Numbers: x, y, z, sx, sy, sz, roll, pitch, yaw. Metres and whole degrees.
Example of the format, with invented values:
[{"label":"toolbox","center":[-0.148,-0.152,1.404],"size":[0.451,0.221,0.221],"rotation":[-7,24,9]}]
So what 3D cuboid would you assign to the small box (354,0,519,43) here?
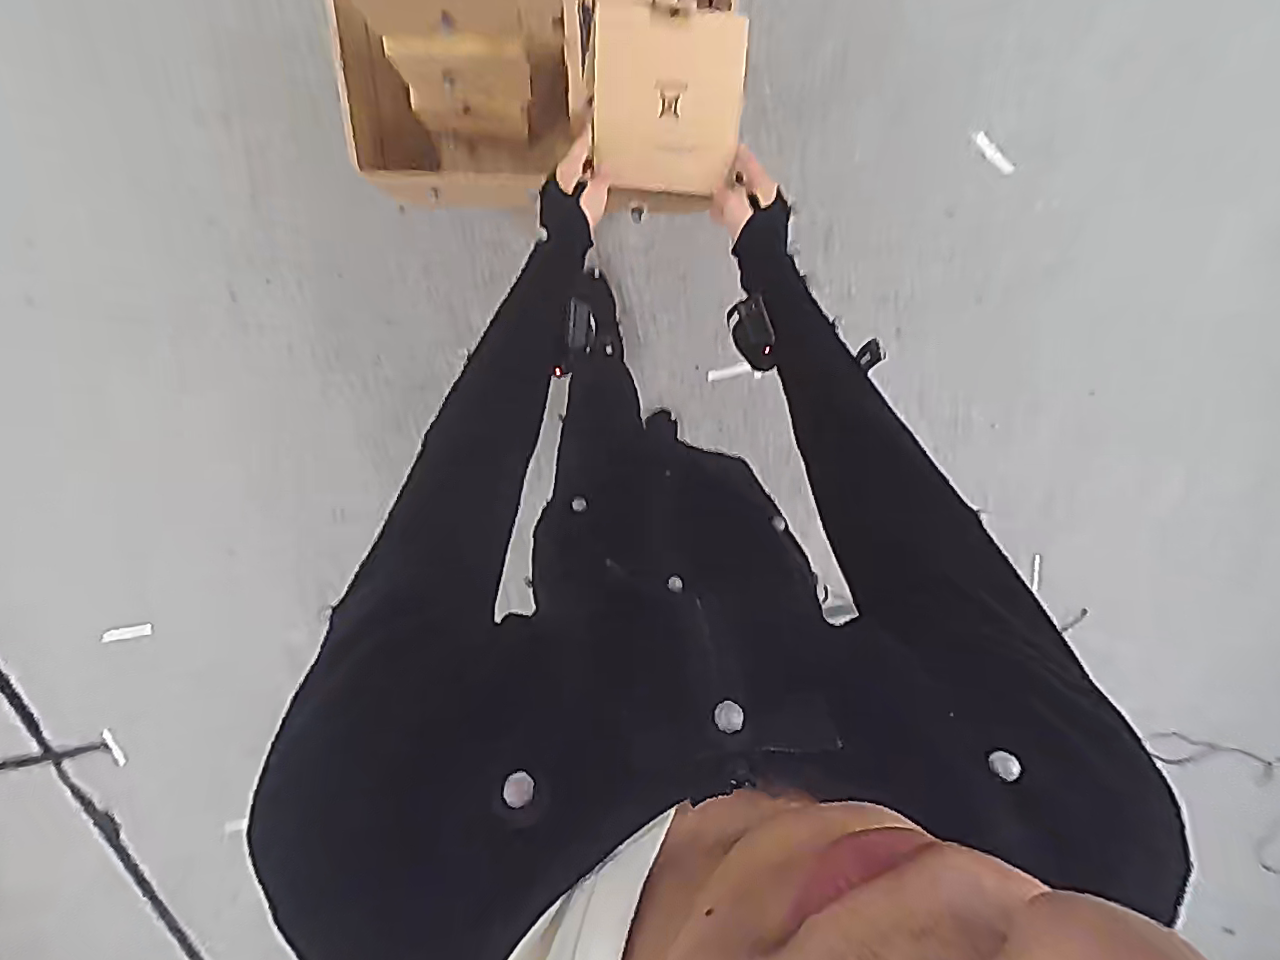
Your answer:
[{"label":"small box","center":[-0.222,-0.590,0.559],"size":[0.179,0.176,0.168],"rotation":[-5,106,-6]}]

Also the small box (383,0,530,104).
[{"label":"small box","center":[-0.241,-0.627,0.718],"size":[0.168,0.176,0.179],"rotation":[-4,106,-6]}]

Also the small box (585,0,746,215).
[{"label":"small box","center":[0.019,-0.442,0.665],"size":[0.168,0.176,0.179],"rotation":[1,107,-8]}]
